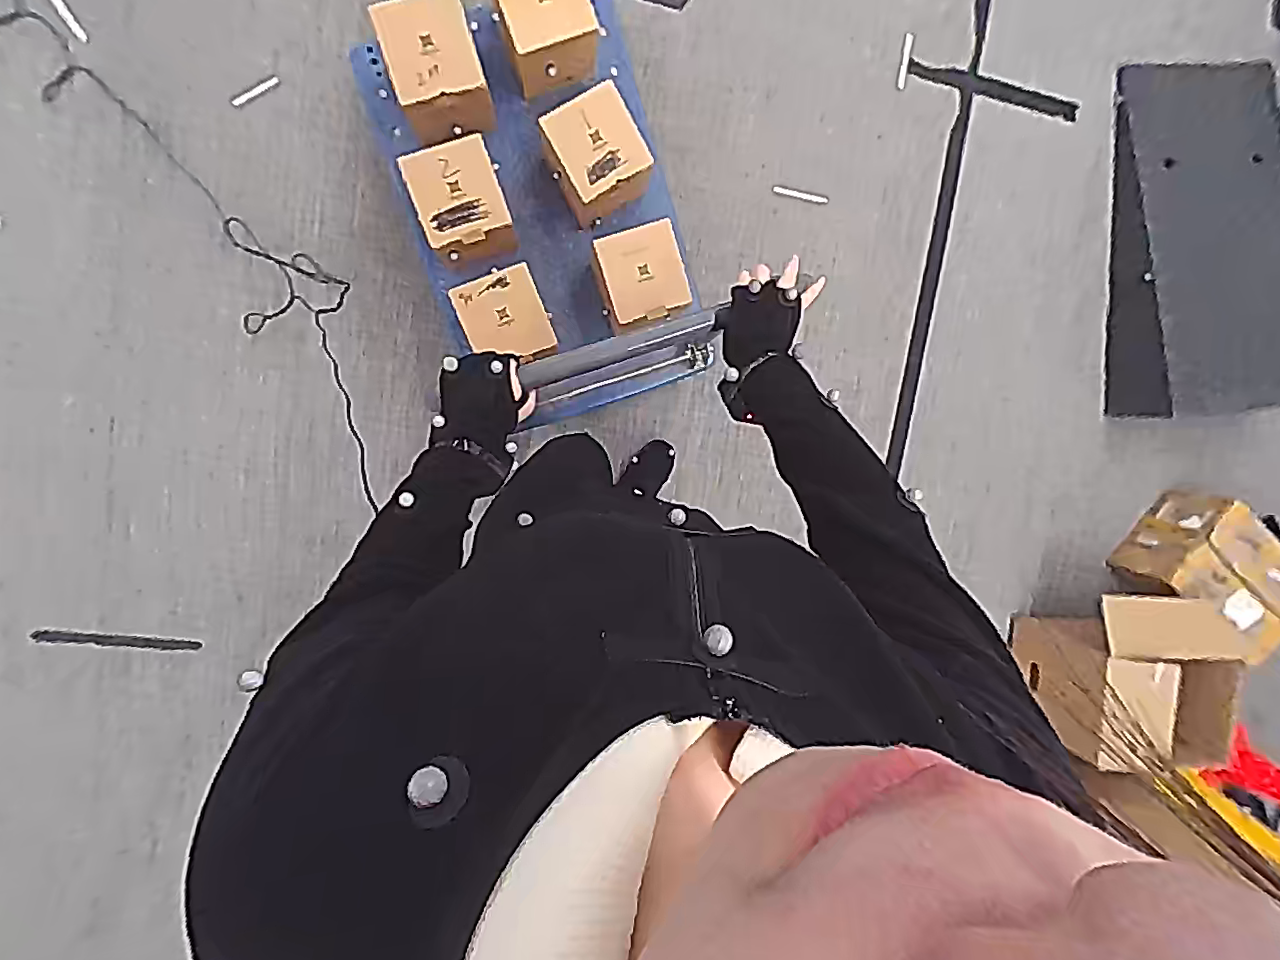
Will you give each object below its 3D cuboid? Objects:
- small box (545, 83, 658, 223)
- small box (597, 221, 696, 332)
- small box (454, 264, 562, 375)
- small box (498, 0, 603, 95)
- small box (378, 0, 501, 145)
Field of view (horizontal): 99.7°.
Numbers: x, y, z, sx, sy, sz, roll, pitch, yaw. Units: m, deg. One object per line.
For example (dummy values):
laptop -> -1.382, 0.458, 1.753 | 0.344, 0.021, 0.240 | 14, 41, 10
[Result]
small box -> -0.082, -0.670, 1.138 | 0.168, 0.176, 0.179 | -30, 100, -2
small box -> 0.008, -0.433, 1.184 | 0.168, 0.176, 0.179 | -18, 99, -5
small box -> -0.272, -0.334, 1.160 | 0.168, 0.176, 0.179 | -22, 100, -5
small box -> -0.180, -0.921, 1.092 | 0.168, 0.176, 0.179 | -21, 100, -3
small box -> -0.389, -0.812, 1.079 | 0.168, 0.176, 0.179 | -17, 100, -4
